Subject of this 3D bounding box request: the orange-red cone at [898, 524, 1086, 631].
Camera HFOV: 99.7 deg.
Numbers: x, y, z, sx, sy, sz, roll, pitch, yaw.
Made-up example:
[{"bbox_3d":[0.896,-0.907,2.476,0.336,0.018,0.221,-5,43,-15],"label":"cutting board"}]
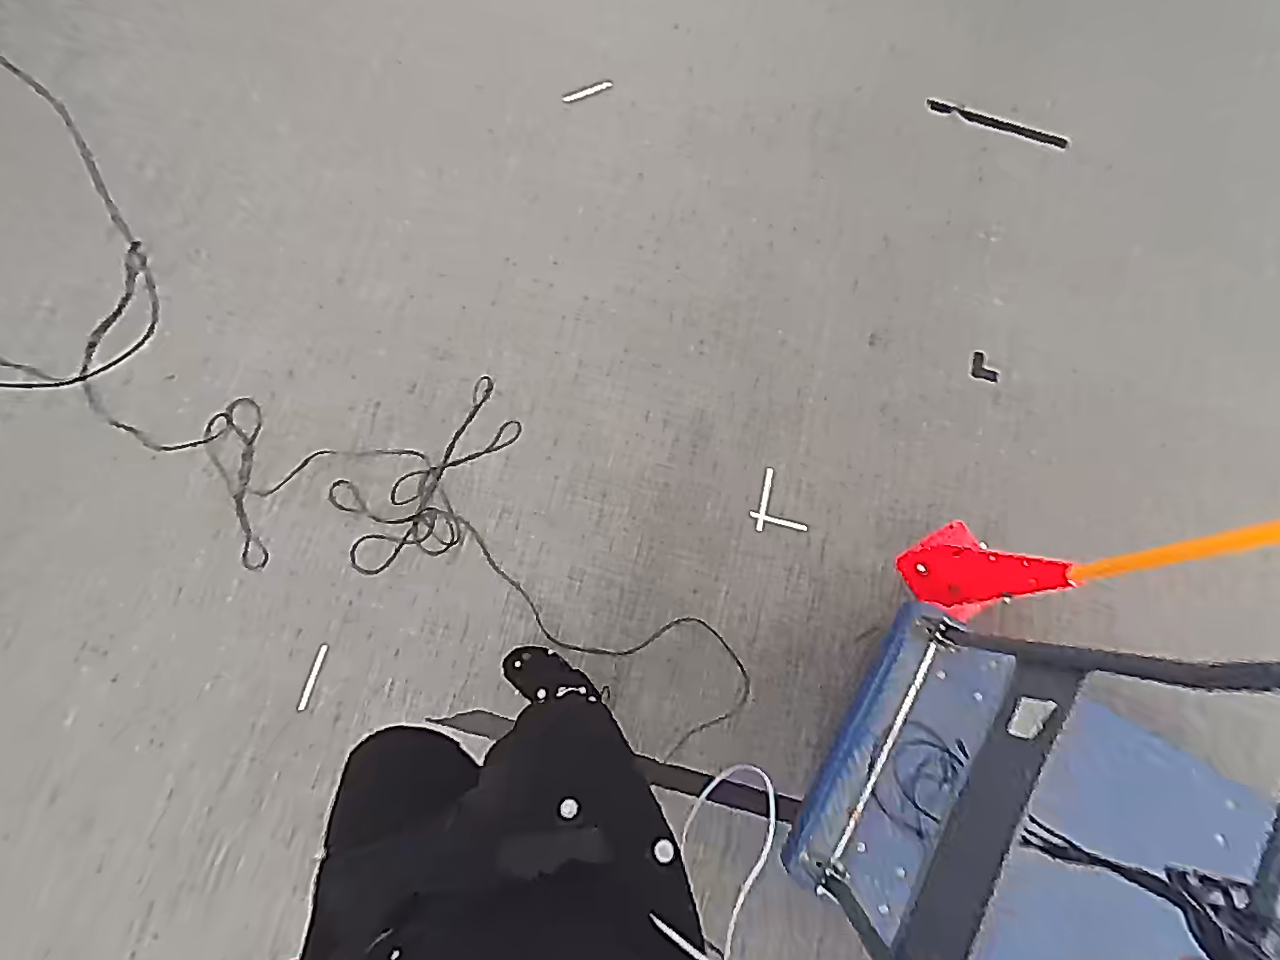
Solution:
[{"bbox_3d":[0.726,0.195,1.082,0.198,0.360,0.199,-29,83,-7],"label":"orange-red cone"}]
